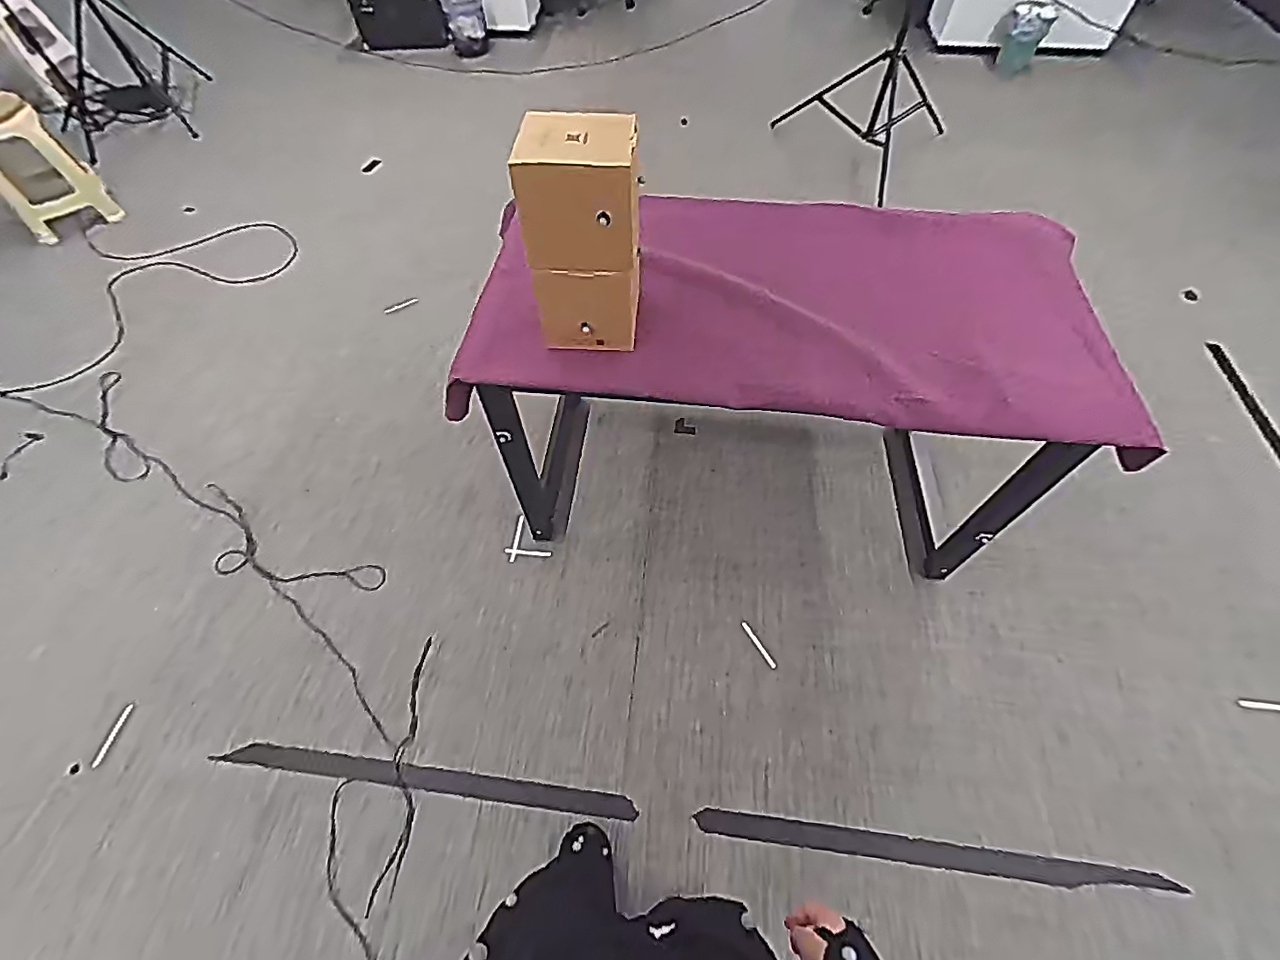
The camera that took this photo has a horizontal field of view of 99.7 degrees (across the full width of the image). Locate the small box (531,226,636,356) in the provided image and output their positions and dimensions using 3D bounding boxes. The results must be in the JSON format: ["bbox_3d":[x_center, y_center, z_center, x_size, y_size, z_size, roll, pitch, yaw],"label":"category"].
[{"bbox_3d":[-0.095,-0.355,1.000,0.168,0.176,0.179,3,57,3],"label":"small box"}]

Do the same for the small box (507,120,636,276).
[{"bbox_3d":[-0.097,-0.446,0.865,0.179,0.176,0.168,1,55,2],"label":"small box"}]
